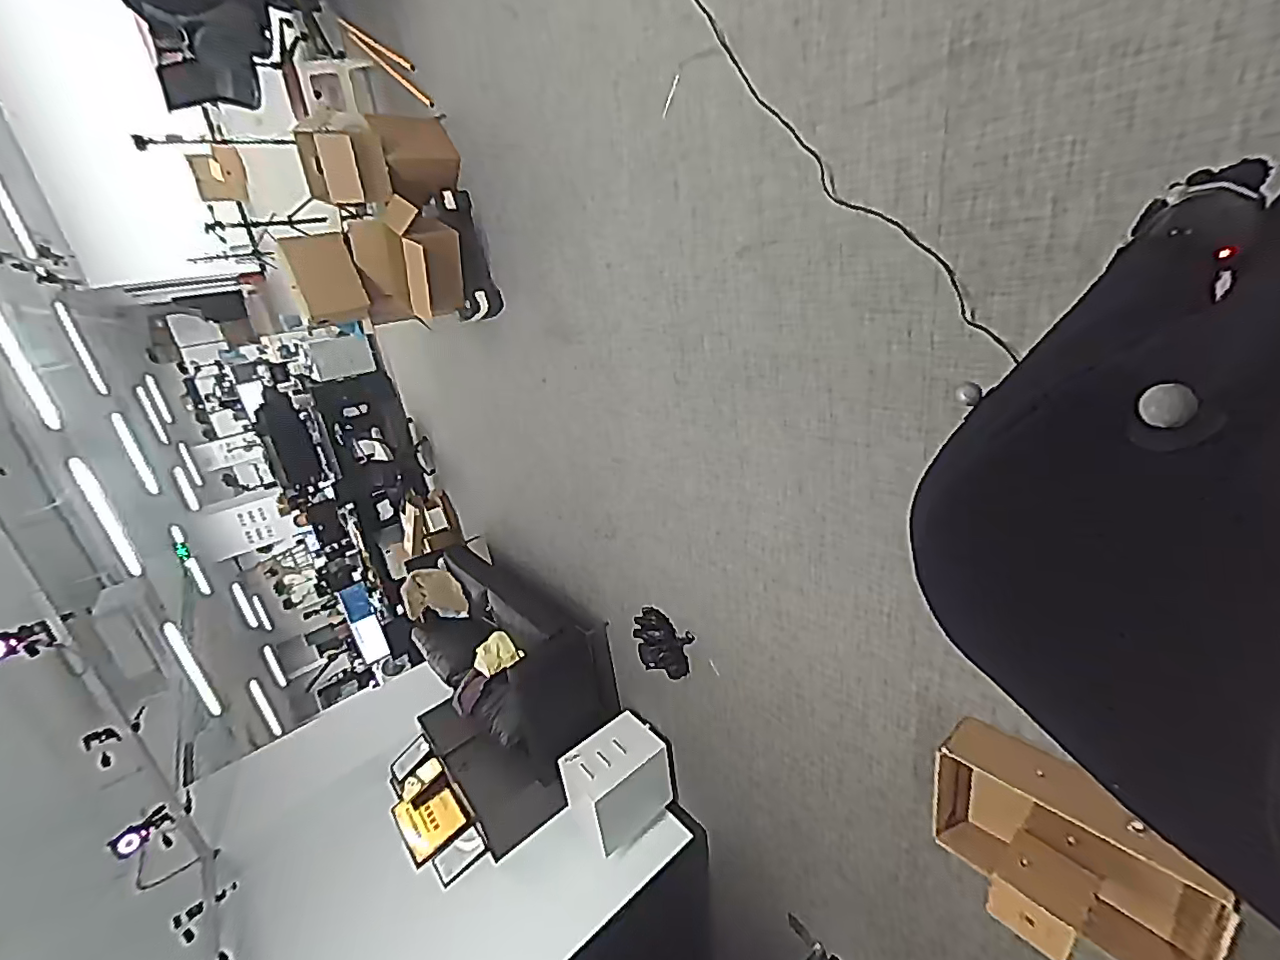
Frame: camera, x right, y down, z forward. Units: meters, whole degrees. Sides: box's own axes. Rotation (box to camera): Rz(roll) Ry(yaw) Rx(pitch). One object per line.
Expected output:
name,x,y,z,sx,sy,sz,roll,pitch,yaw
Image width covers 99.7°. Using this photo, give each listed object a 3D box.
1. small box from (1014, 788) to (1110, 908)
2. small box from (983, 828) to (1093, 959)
small box,1.146,0.991,1.474,0.179,0.176,0.168,15,123,50
small box,1.002,1.029,1.367,0.179,0.176,0.168,16,124,50
